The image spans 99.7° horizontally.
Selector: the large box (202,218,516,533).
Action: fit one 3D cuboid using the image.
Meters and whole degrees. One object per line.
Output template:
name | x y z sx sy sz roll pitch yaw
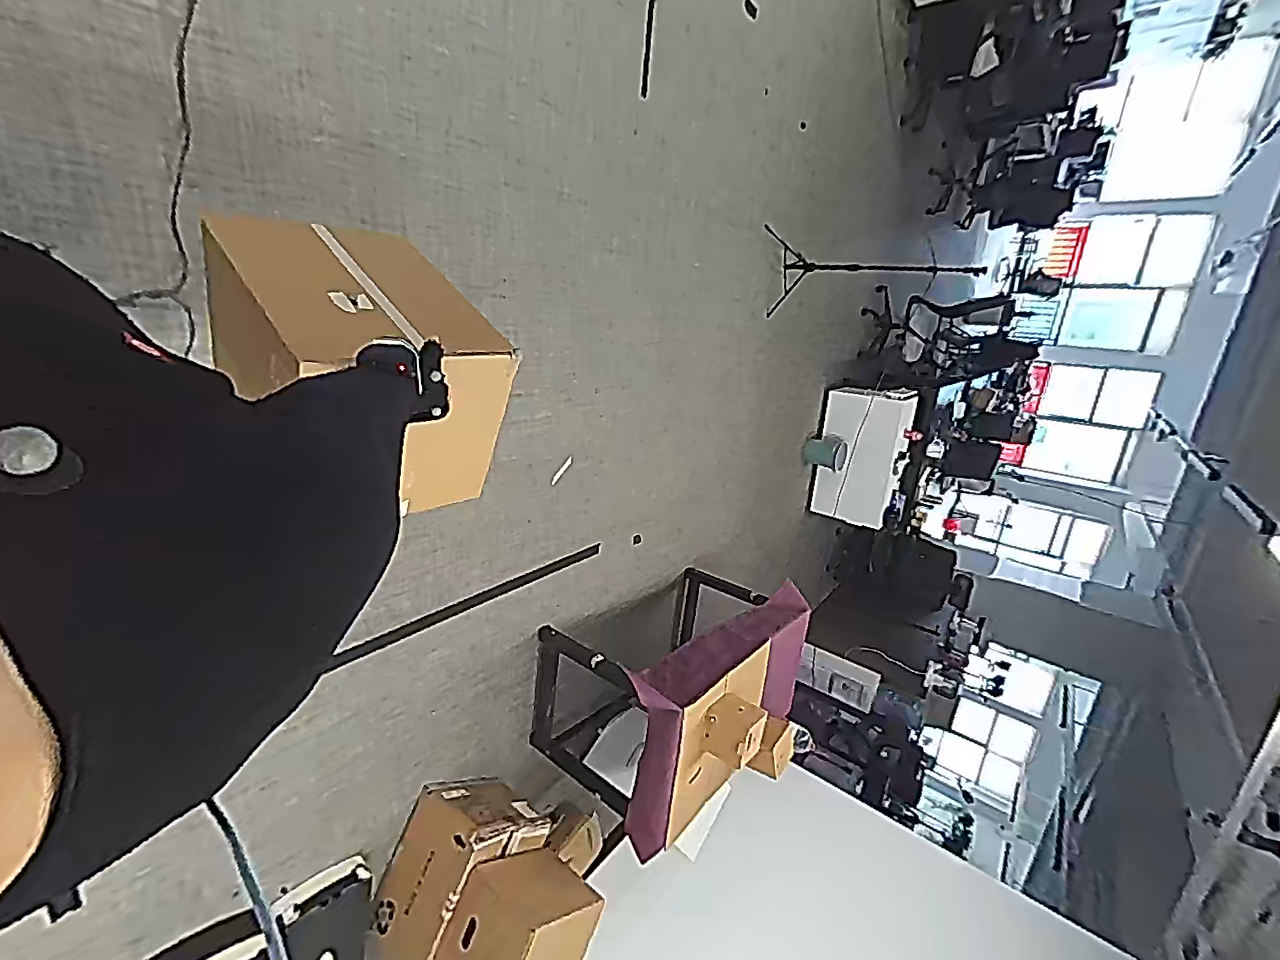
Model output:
large box | -0.484 -0.182 0.918 0.320 0.408 0.320 -18 145 -46
